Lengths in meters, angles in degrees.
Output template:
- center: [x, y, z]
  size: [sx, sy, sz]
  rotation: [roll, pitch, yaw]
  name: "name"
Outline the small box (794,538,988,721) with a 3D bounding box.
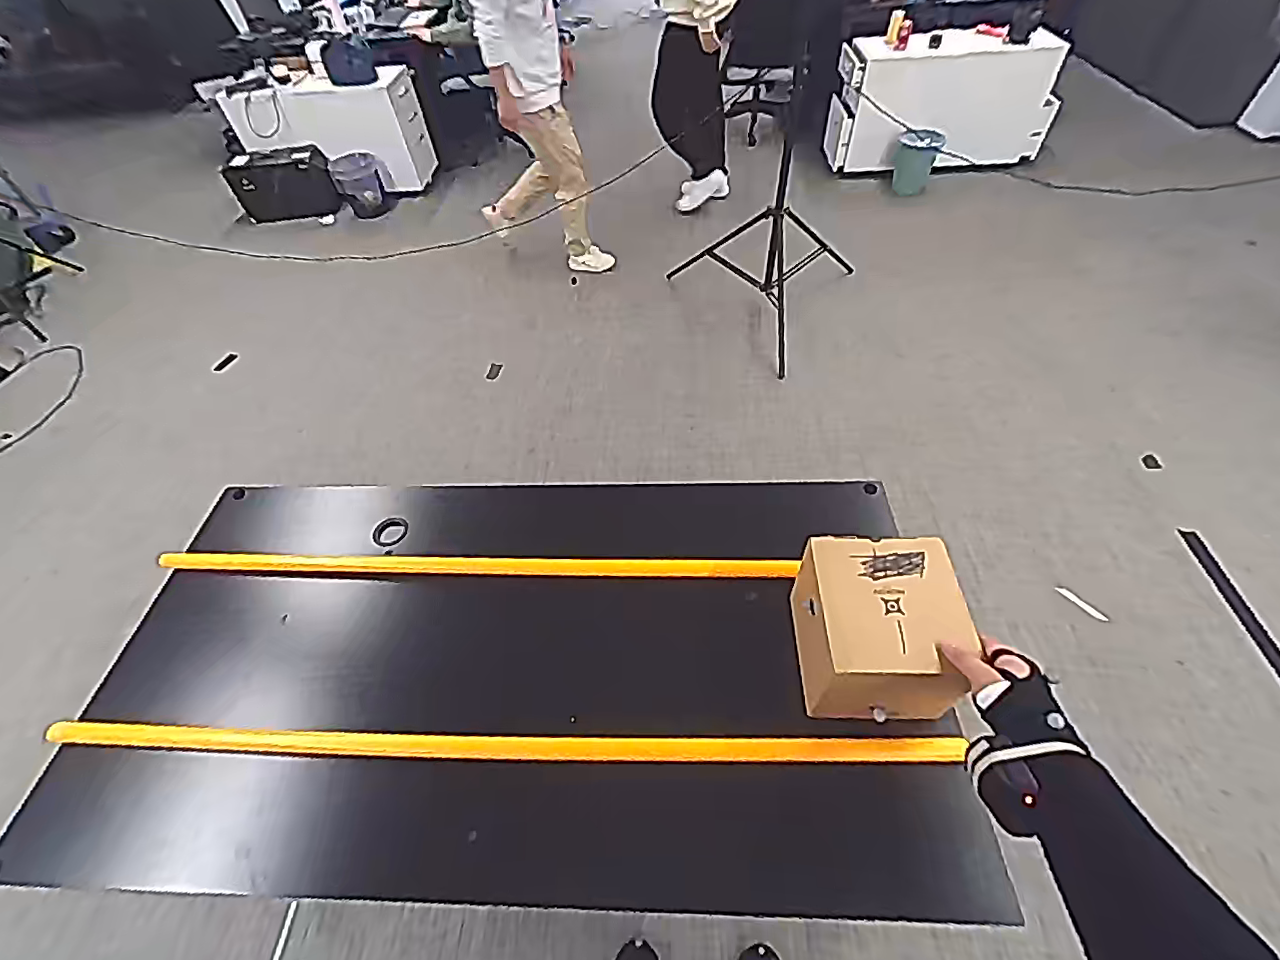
- center: [0.301, 0.193, 0.698]
  size: [0.168, 0.176, 0.179]
  rotation: [0, 51, 5]
  name: "small box"
